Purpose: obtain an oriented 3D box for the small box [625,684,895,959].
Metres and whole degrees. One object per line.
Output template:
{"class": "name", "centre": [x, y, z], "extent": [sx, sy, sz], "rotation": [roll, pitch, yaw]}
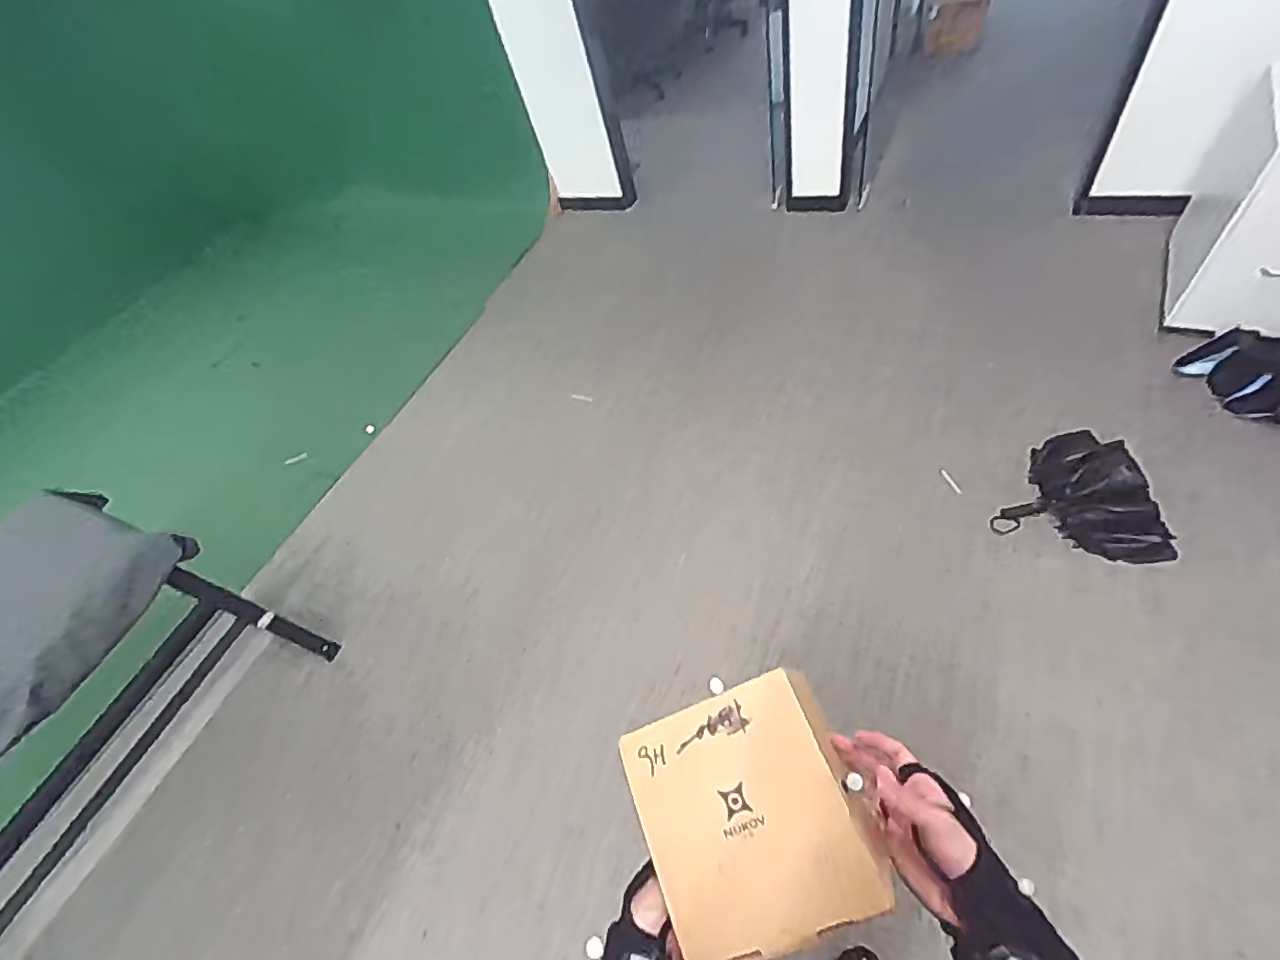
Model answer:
{"class": "small box", "centre": [0.114, 0.305, 0.505], "extent": [0.168, 0.176, 0.179], "rotation": [-28, 63, 10]}
